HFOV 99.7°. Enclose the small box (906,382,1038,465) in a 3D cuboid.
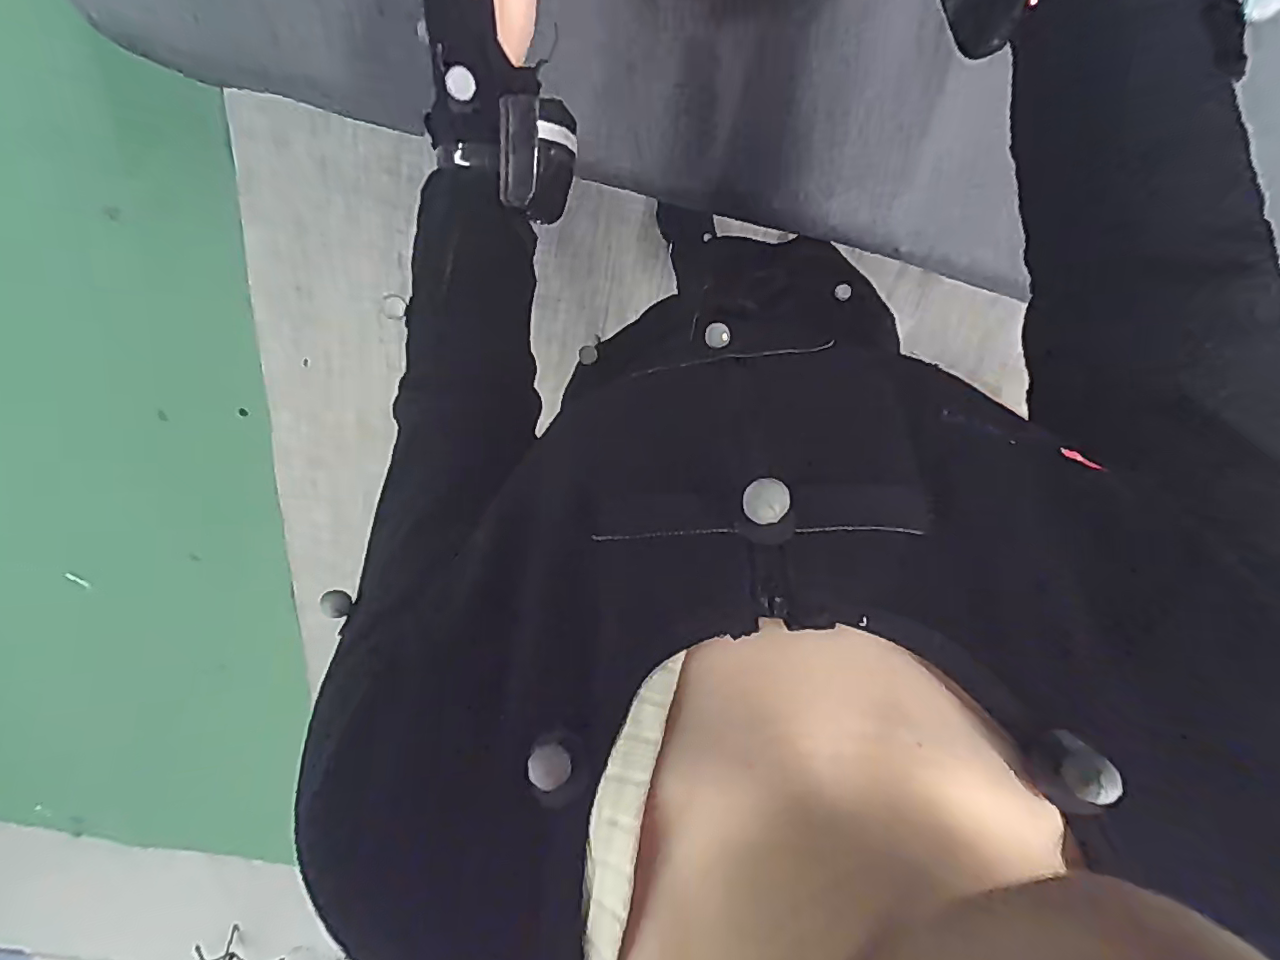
[{"bbox_3d":[0.782,-0.120,1.293,0.179,0.176,0.168,13,119,-6],"label":"small box"}]
